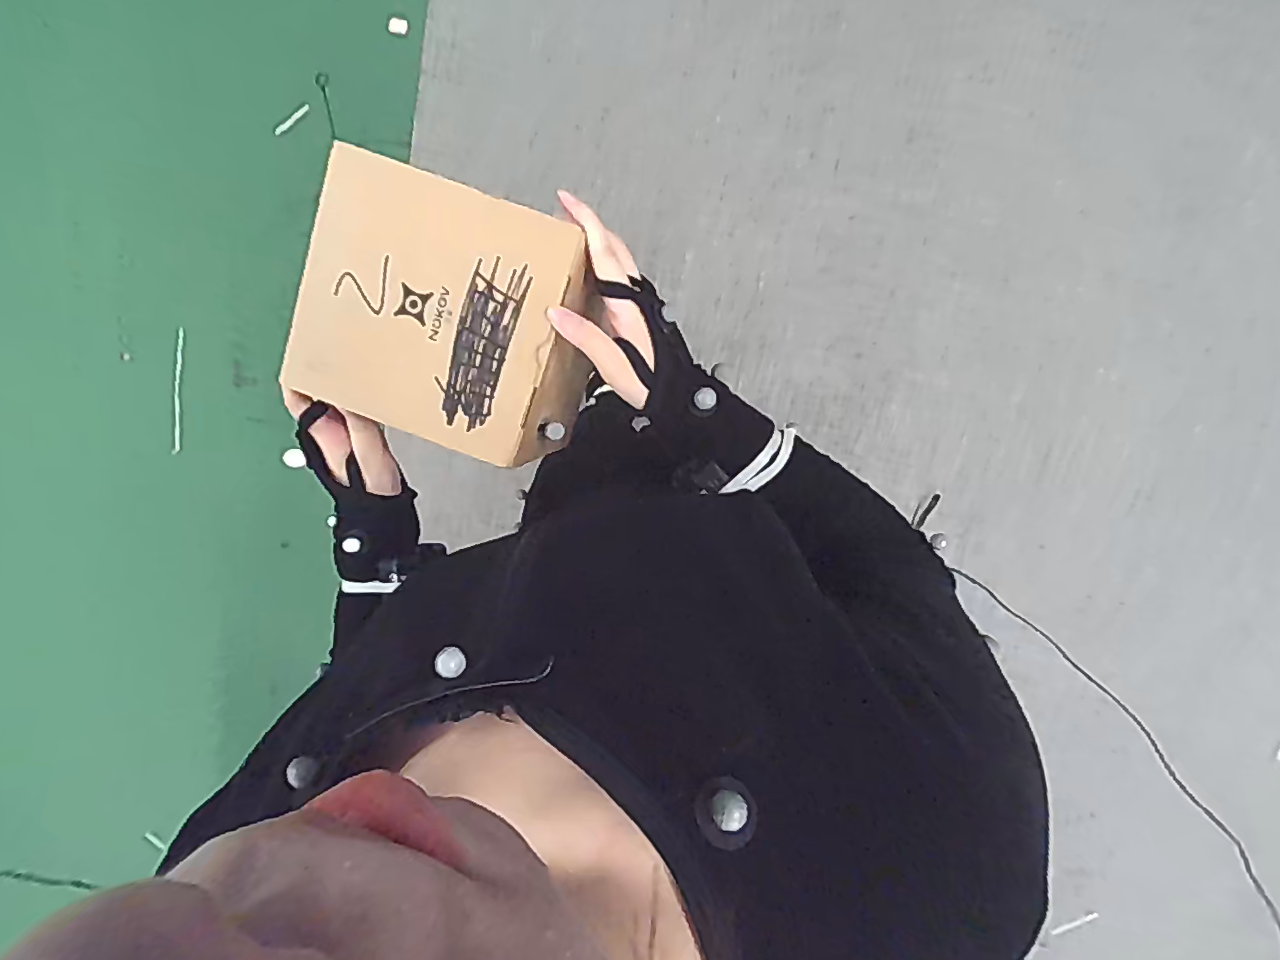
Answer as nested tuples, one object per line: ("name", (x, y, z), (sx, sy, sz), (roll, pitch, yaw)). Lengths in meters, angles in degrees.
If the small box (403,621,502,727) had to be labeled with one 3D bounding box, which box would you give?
("small box", (-0.470, 0.485, 1.381), (0.168, 0.176, 0.179), (16, 99, 5))
